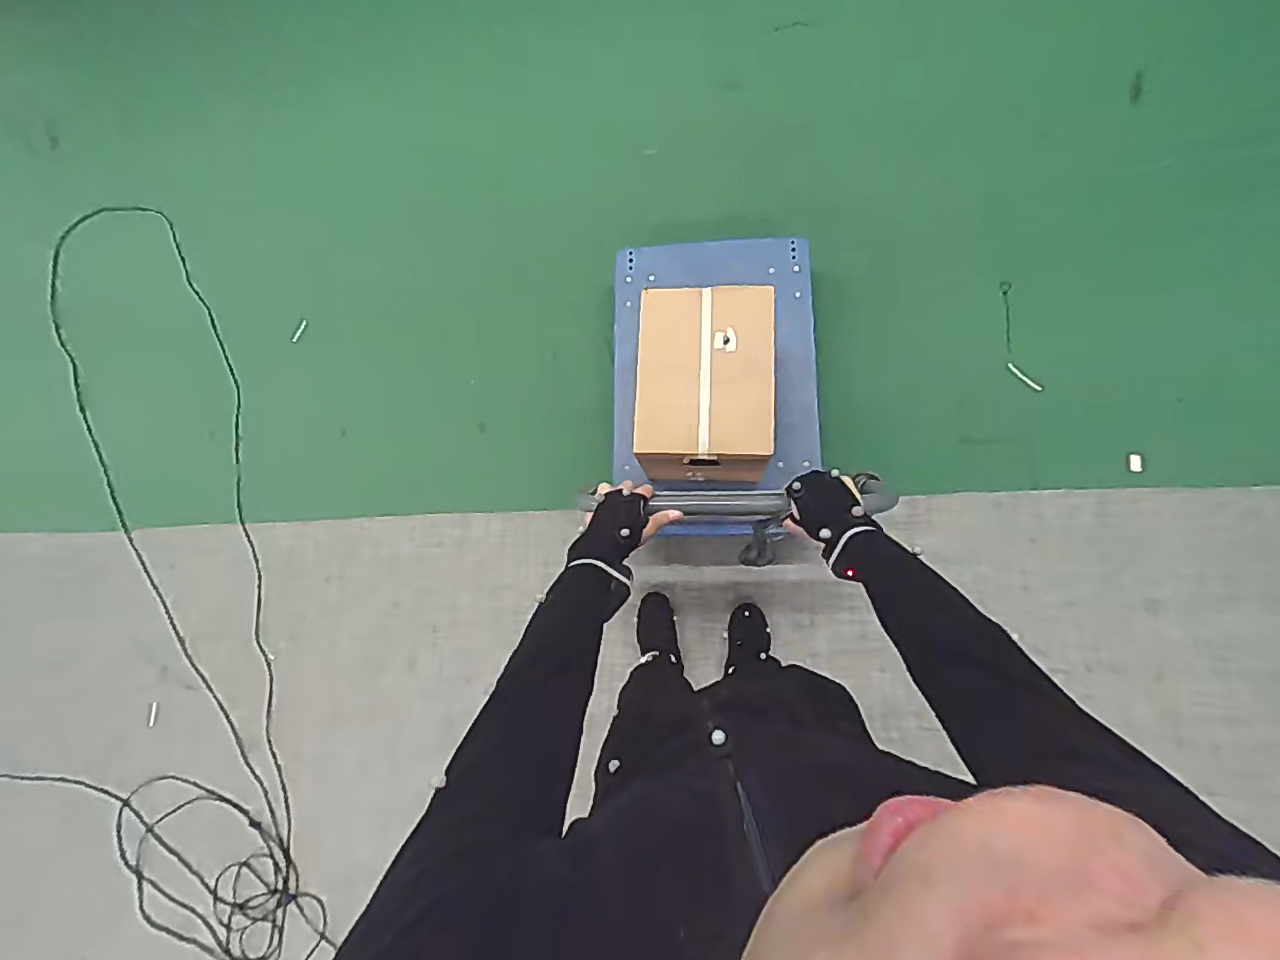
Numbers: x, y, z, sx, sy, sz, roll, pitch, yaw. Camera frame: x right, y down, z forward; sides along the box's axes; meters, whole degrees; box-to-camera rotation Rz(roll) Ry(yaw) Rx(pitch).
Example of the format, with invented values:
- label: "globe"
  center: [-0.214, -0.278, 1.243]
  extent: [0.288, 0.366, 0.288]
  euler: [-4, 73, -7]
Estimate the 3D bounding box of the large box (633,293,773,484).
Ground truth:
- label: "large box"
  center: [0.164, -0.212, 1.381]
  extent: [0.320, 0.320, 0.408]
  euler: [1, 78, 7]
